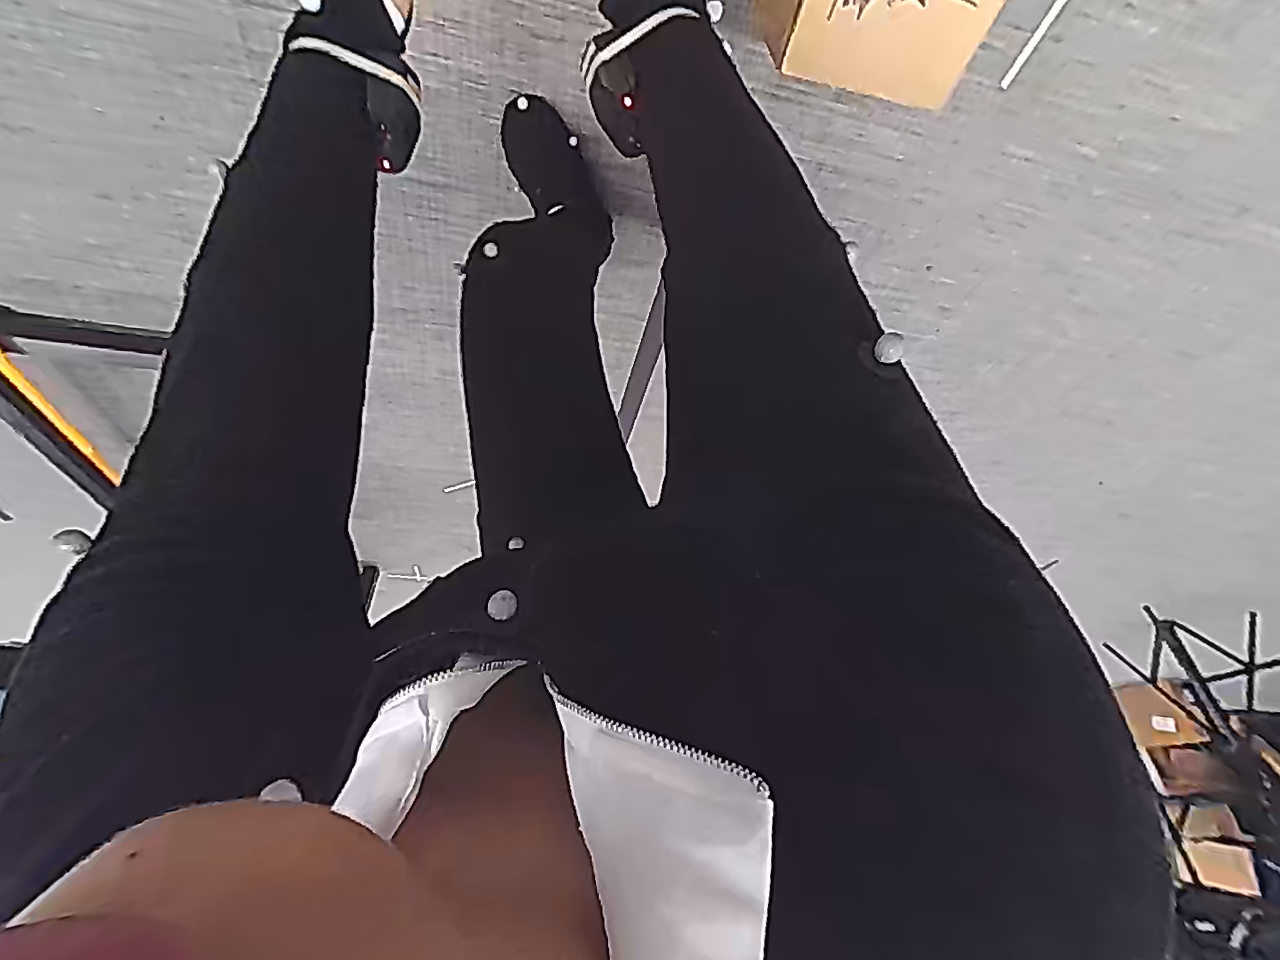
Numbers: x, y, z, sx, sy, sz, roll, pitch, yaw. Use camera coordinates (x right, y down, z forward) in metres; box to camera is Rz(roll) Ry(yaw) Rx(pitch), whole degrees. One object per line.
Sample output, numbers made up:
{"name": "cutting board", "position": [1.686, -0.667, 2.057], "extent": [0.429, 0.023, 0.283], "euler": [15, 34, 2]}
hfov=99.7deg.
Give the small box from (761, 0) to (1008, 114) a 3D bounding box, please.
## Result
{"name": "small box", "position": [0.227, -0.481, 0.497], "extent": [0.179, 0.176, 0.168], "euler": [6, 145, -11]}
